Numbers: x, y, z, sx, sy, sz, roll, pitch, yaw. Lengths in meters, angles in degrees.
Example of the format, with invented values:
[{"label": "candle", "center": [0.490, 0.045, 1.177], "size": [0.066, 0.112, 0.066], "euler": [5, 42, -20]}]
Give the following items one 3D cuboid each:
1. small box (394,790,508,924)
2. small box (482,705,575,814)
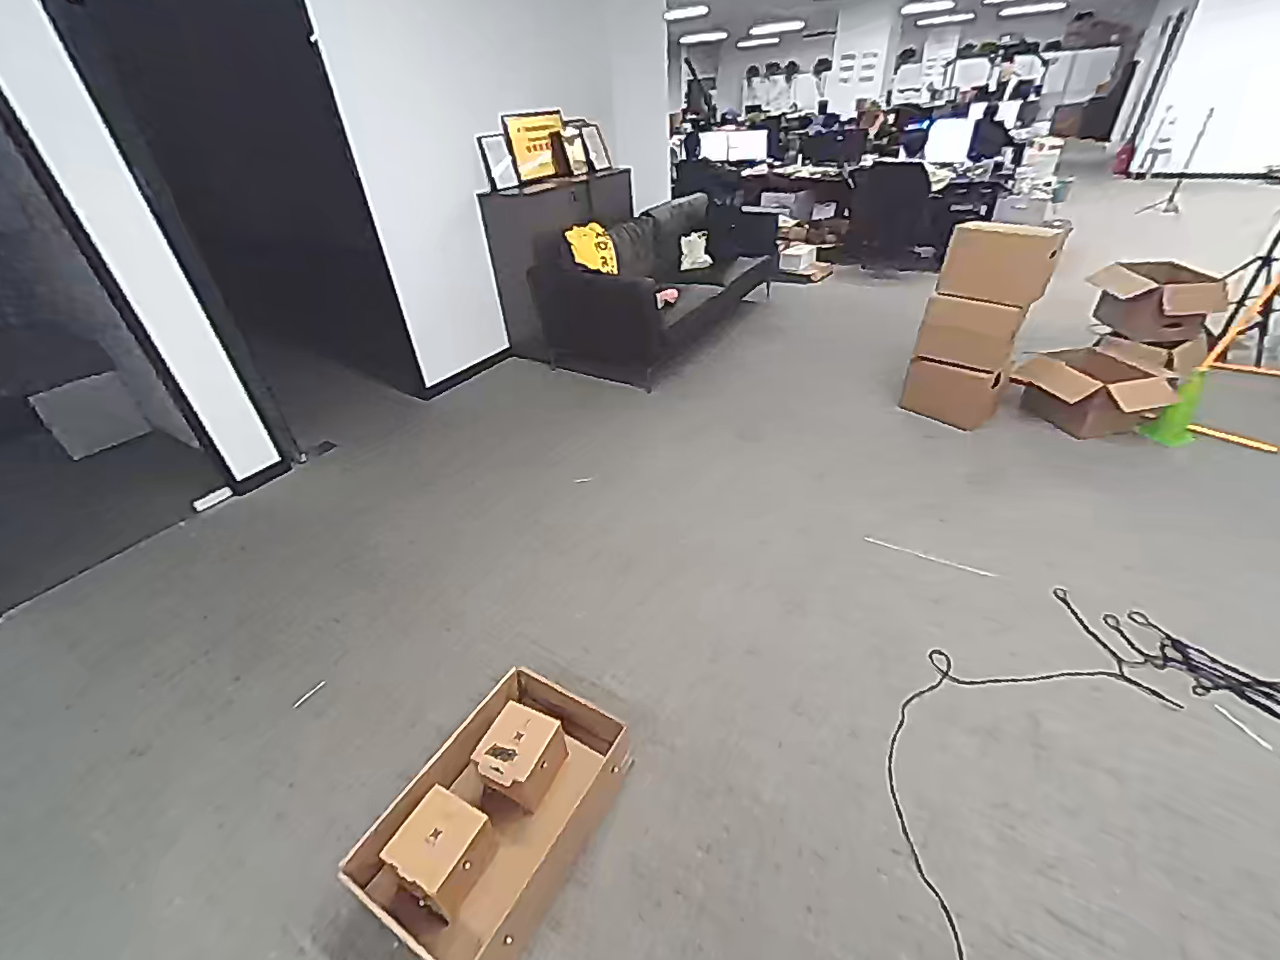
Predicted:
[{"label": "small box", "center": [-0.432, 0.885, 1.268], "size": [0.168, 0.176, 0.179], "euler": [15, 38, 24]}, {"label": "small box", "center": [-0.288, 0.748, 1.445], "size": [0.168, 0.176, 0.179], "euler": [12, 39, 22]}]
